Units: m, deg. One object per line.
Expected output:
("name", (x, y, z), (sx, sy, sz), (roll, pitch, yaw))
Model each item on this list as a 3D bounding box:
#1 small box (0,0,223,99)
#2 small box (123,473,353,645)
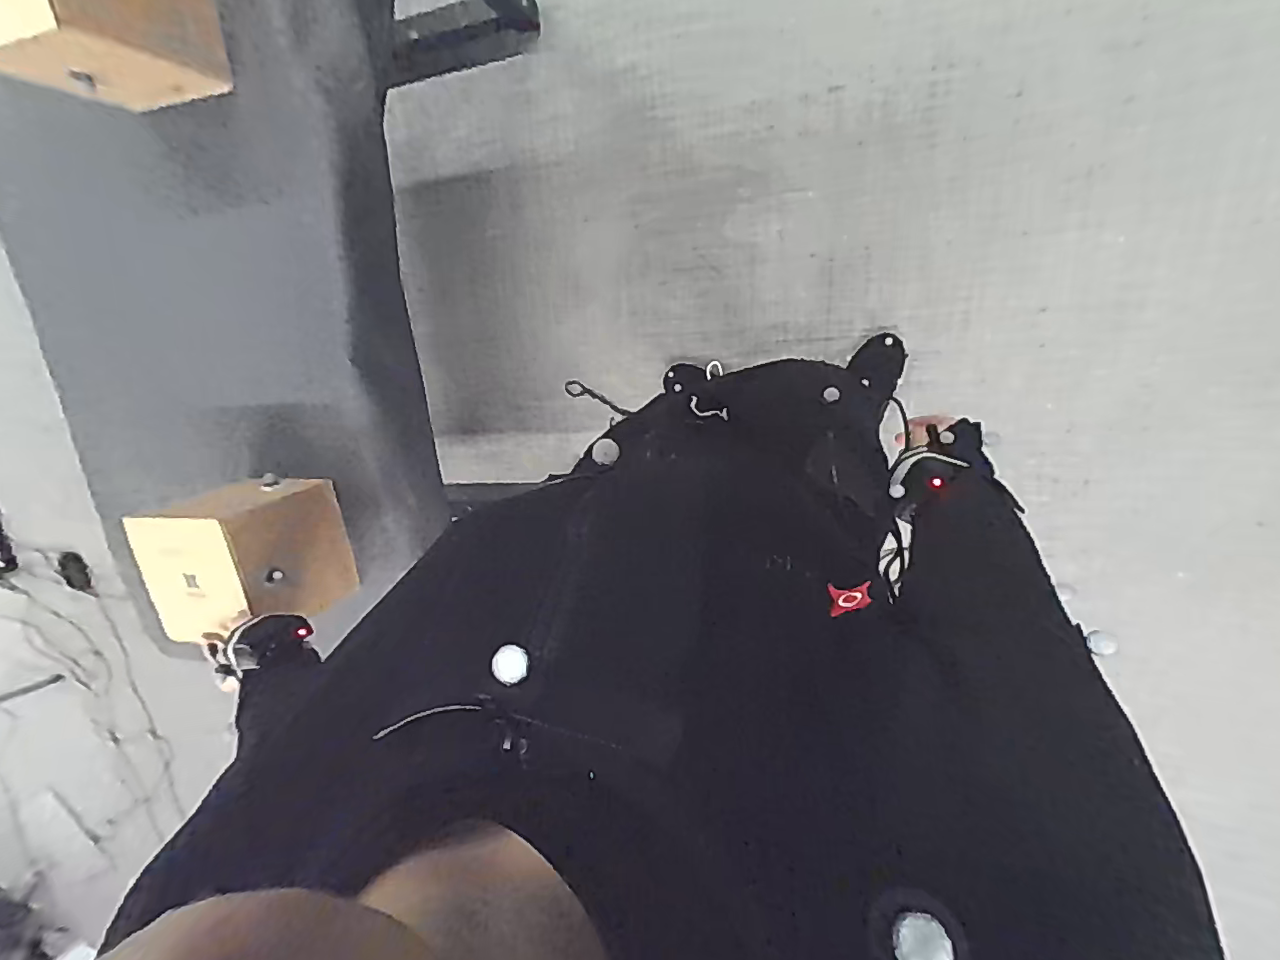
("small box", (-0.572, -0.514, 0.546), (0.168, 0.176, 0.179), (3, 108, 17))
("small box", (-0.528, 0.098, 0.737), (0.168, 0.176, 0.179), (-1, 106, 16))
